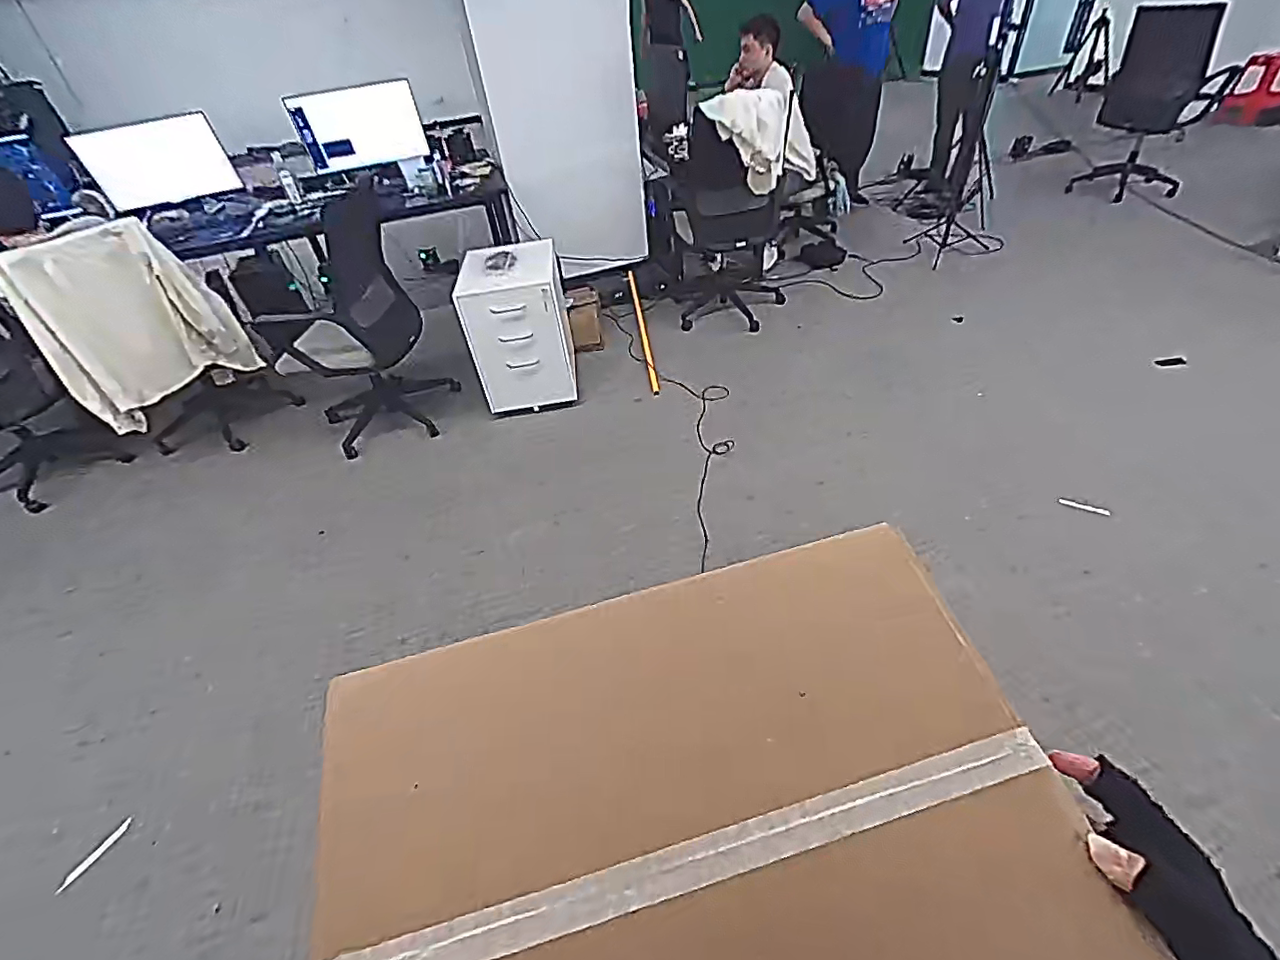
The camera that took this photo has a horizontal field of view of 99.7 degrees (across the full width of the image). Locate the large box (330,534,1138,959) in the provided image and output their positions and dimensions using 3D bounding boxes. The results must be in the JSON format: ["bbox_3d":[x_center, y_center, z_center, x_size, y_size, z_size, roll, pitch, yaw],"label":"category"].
[{"bbox_3d":[0.040,0.293,0.423,0.408,0.320,0.320,-15,54,-5],"label":"large box"}]
